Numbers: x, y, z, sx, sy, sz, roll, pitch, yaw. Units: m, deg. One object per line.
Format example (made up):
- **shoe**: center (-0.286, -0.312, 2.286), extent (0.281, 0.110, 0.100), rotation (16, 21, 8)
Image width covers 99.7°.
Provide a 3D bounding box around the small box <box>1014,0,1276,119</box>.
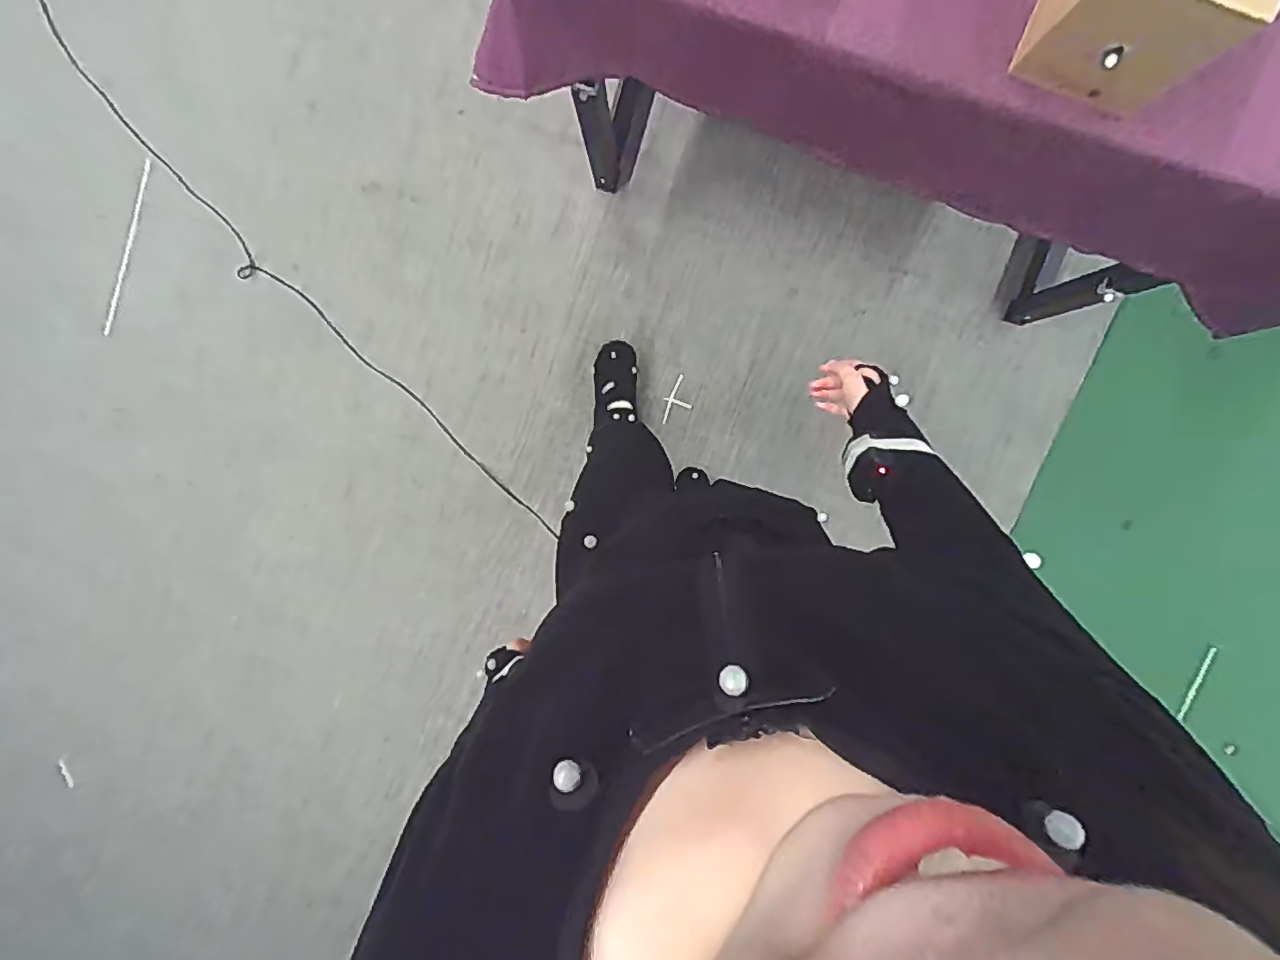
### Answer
- **small box**: center (0.570, -0.555, 0.606), extent (0.168, 0.176, 0.179), rotation (21, 96, -1)
